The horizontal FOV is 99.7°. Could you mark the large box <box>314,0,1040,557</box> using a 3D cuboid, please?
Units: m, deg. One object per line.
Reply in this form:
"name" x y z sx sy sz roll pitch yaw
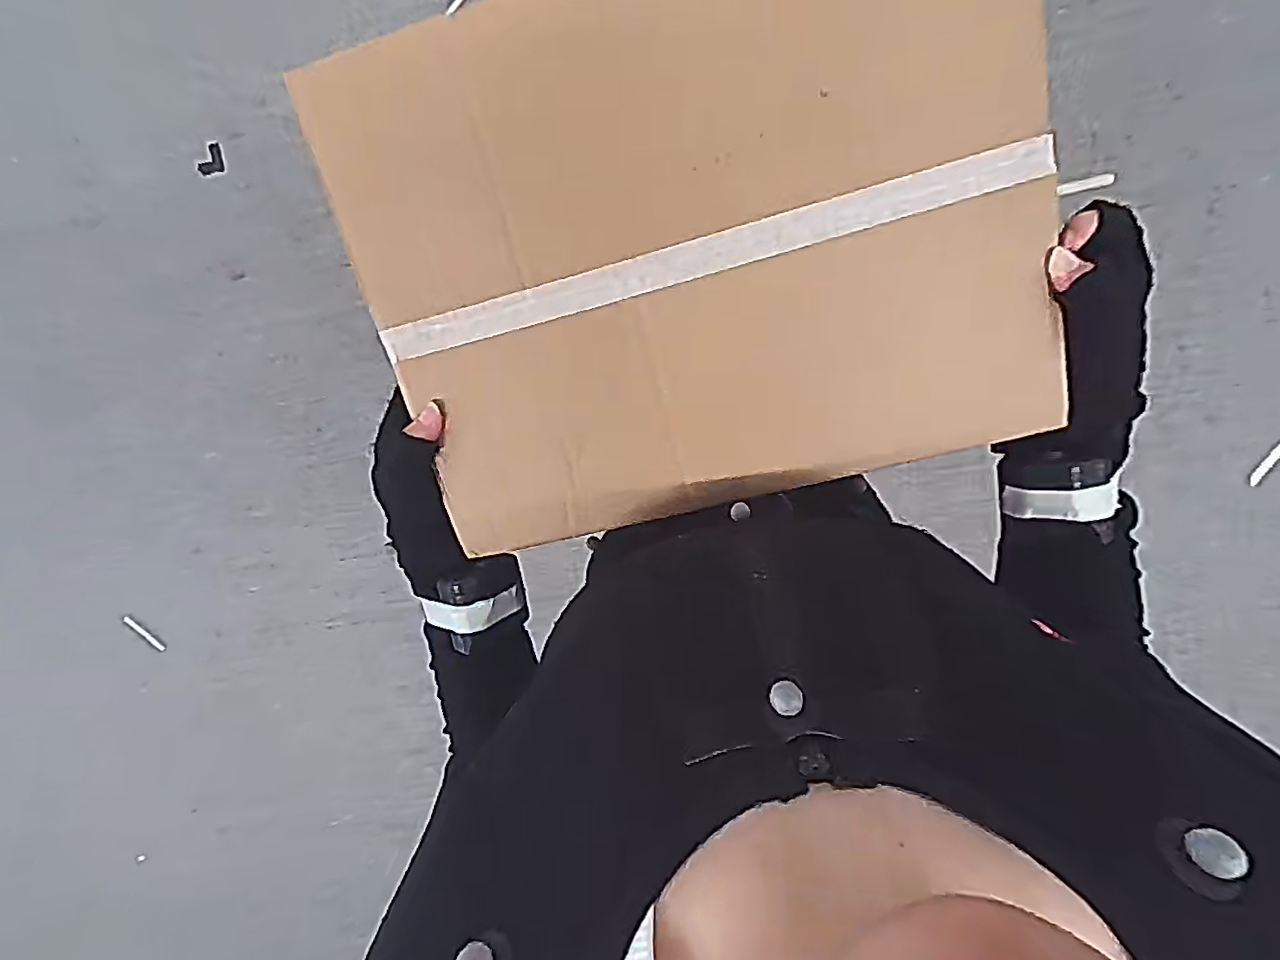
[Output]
"large box" 0.042 -0.173 0.479 0.408 0.320 0.320 -13 105 8
